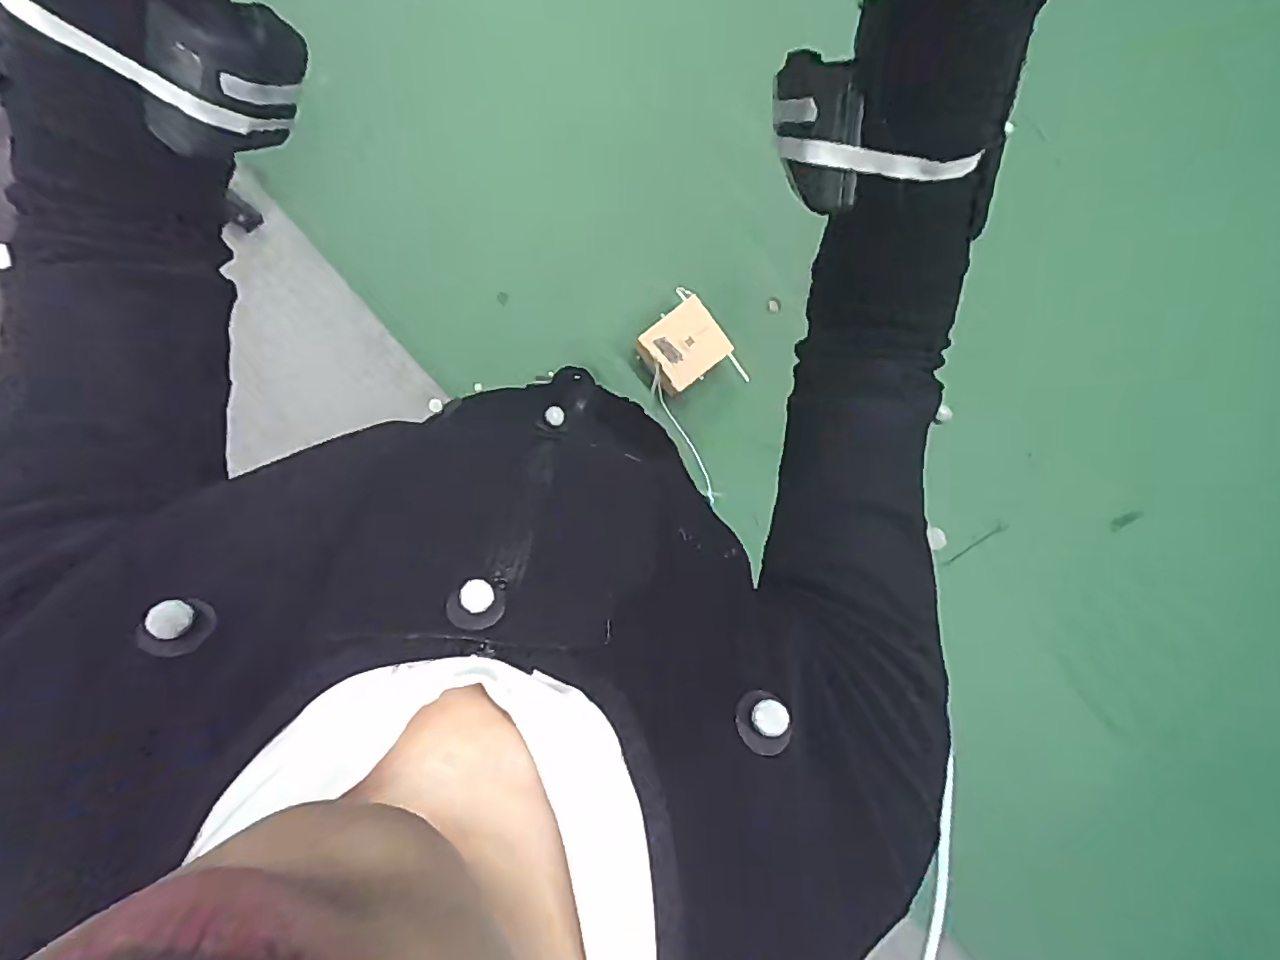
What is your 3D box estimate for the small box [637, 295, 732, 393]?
[{"bbox_3d":[0.104,-0.337,1.379,0.179,0.176,0.168,-37,99,-1],"label":"small box"}]
